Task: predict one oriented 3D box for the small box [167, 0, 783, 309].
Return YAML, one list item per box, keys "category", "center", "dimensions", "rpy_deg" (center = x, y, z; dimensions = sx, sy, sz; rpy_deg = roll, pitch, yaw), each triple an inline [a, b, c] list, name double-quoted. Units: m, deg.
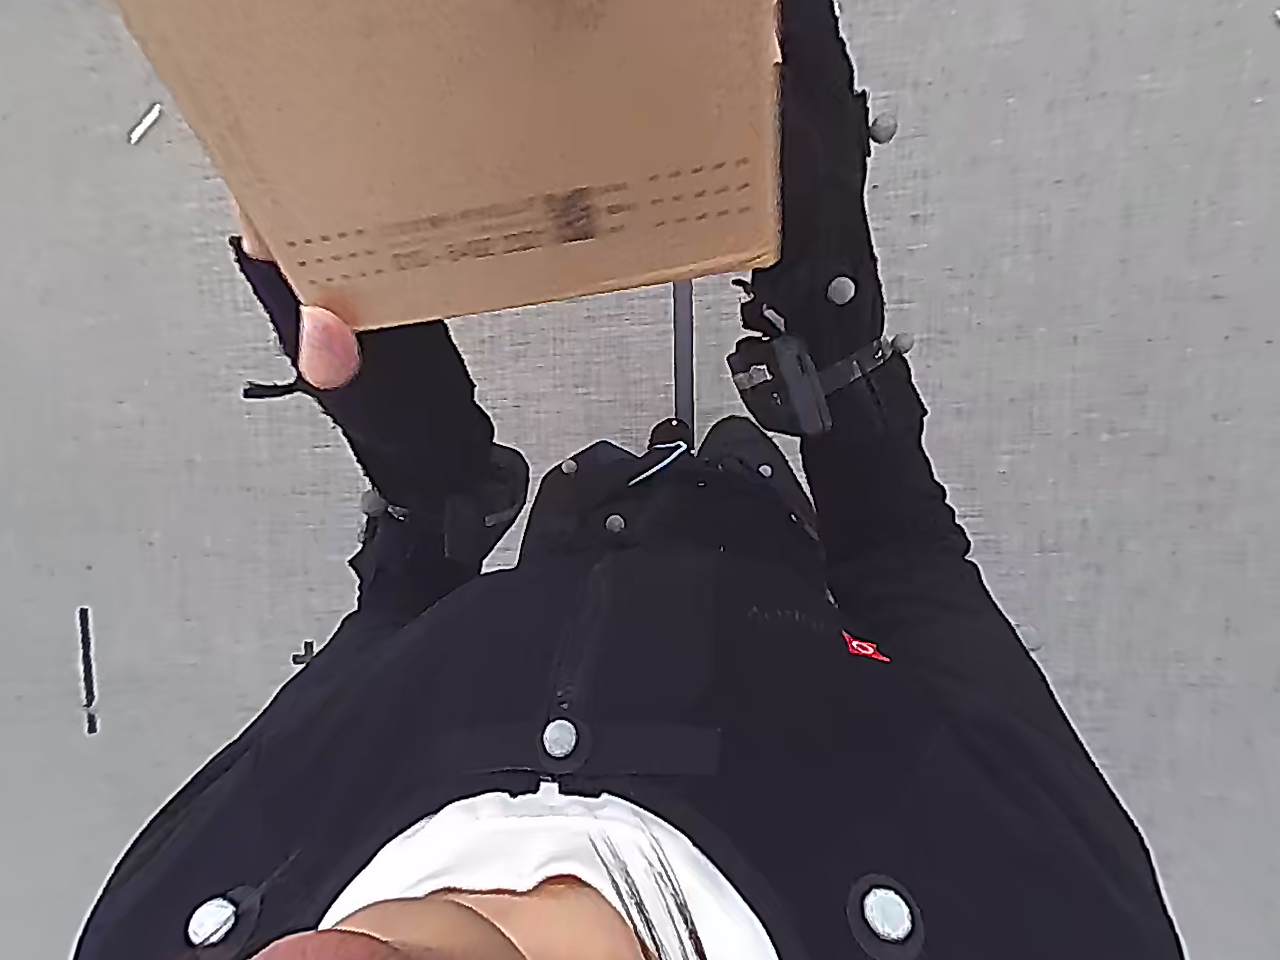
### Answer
- category: "small box"
  center: [-0.041, -0.176, 0.204]
  dimensions: [0.168, 0.179, 0.176]
  rpy_deg: [-6, 131, 8]
